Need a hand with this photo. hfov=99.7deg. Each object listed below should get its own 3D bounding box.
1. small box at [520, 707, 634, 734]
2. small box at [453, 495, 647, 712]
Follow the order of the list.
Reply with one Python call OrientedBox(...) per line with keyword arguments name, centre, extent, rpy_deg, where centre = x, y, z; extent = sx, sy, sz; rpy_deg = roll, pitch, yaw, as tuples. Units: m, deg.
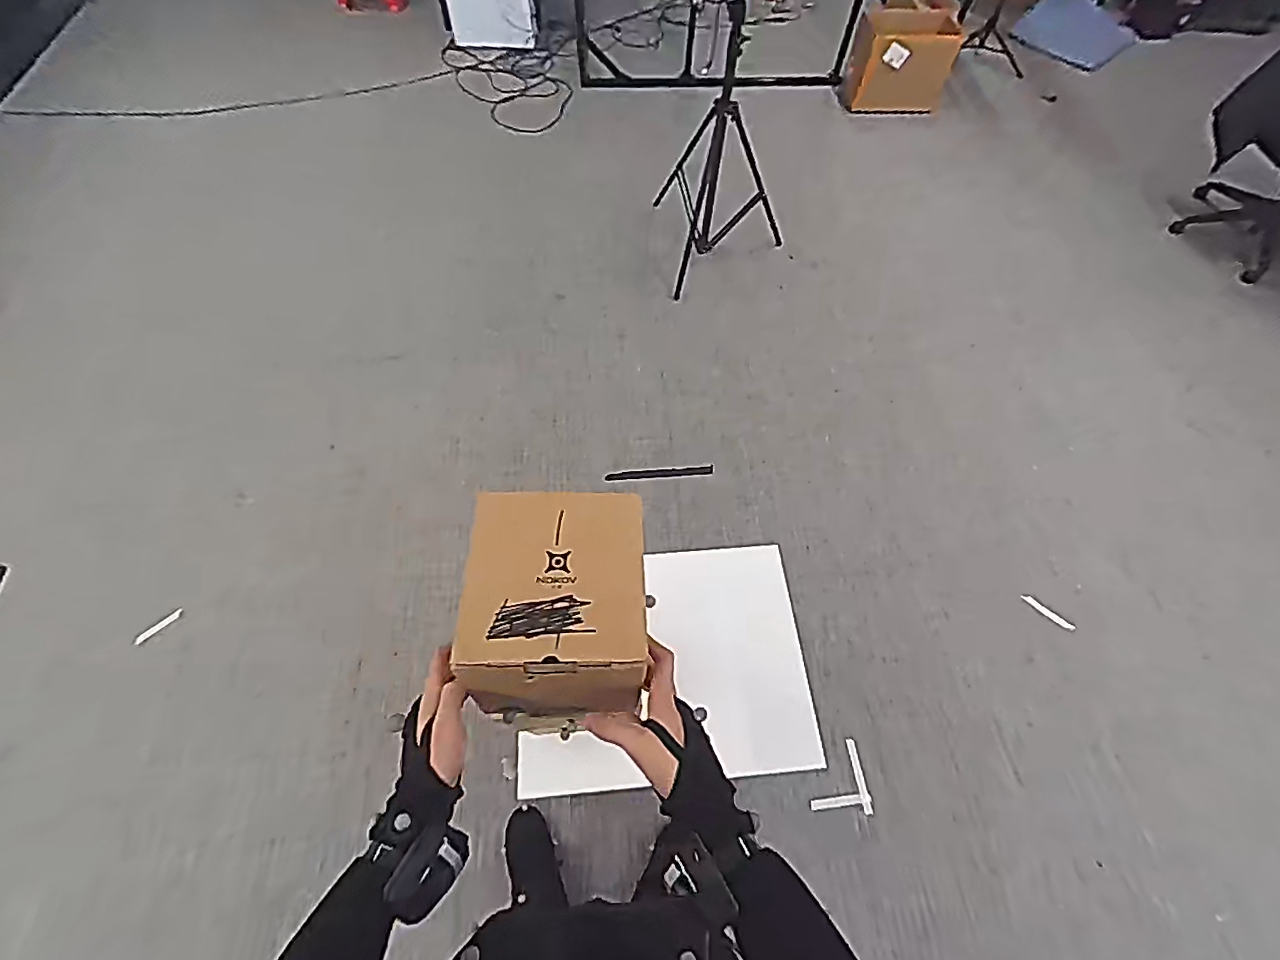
OrientedBox(name="small box", centre=(-0.095, 0.310, 0.874), extent=(0.168, 0.176, 0.179), rpy_deg=(-3, 61, -4))
OrientedBox(name="small box", centre=(-0.079, 0.134, 0.561), extent=(0.168, 0.176, 0.179), rpy_deg=(1, 54, -4))
